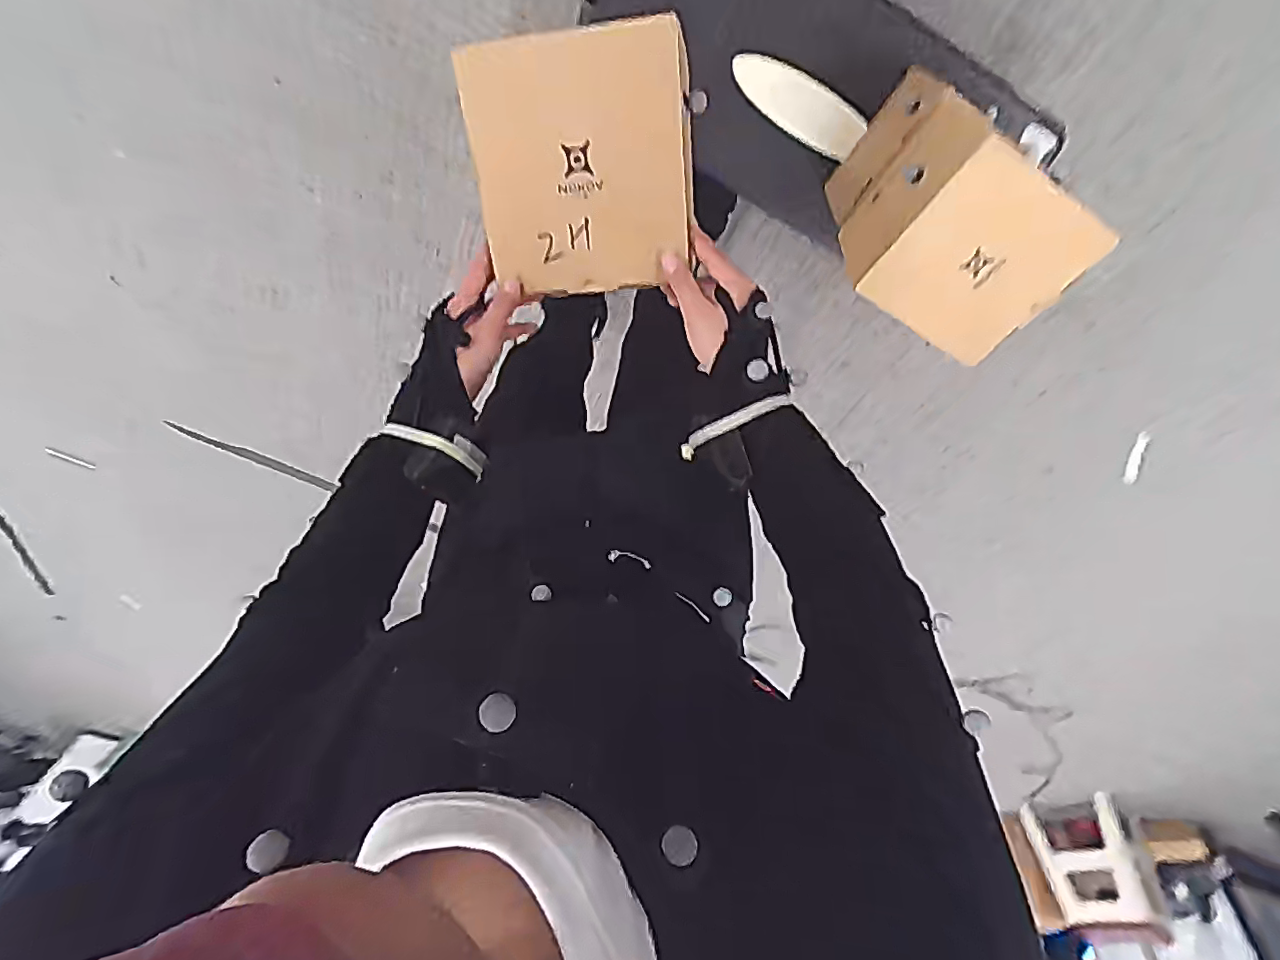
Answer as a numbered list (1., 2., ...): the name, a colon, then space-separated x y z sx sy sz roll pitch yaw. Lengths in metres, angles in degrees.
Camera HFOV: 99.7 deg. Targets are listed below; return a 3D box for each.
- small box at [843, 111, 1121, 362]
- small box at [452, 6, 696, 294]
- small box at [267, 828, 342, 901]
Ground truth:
1. small box: 0.349 -0.270 0.594 0.179 0.176 0.168 26 132 -14
2. small box: -0.037 -0.271 0.478 0.168 0.176 0.179 -1 117 9
3. small box: -1.186 1.361 1.915 0.168 0.176 0.179 27 131 -14
